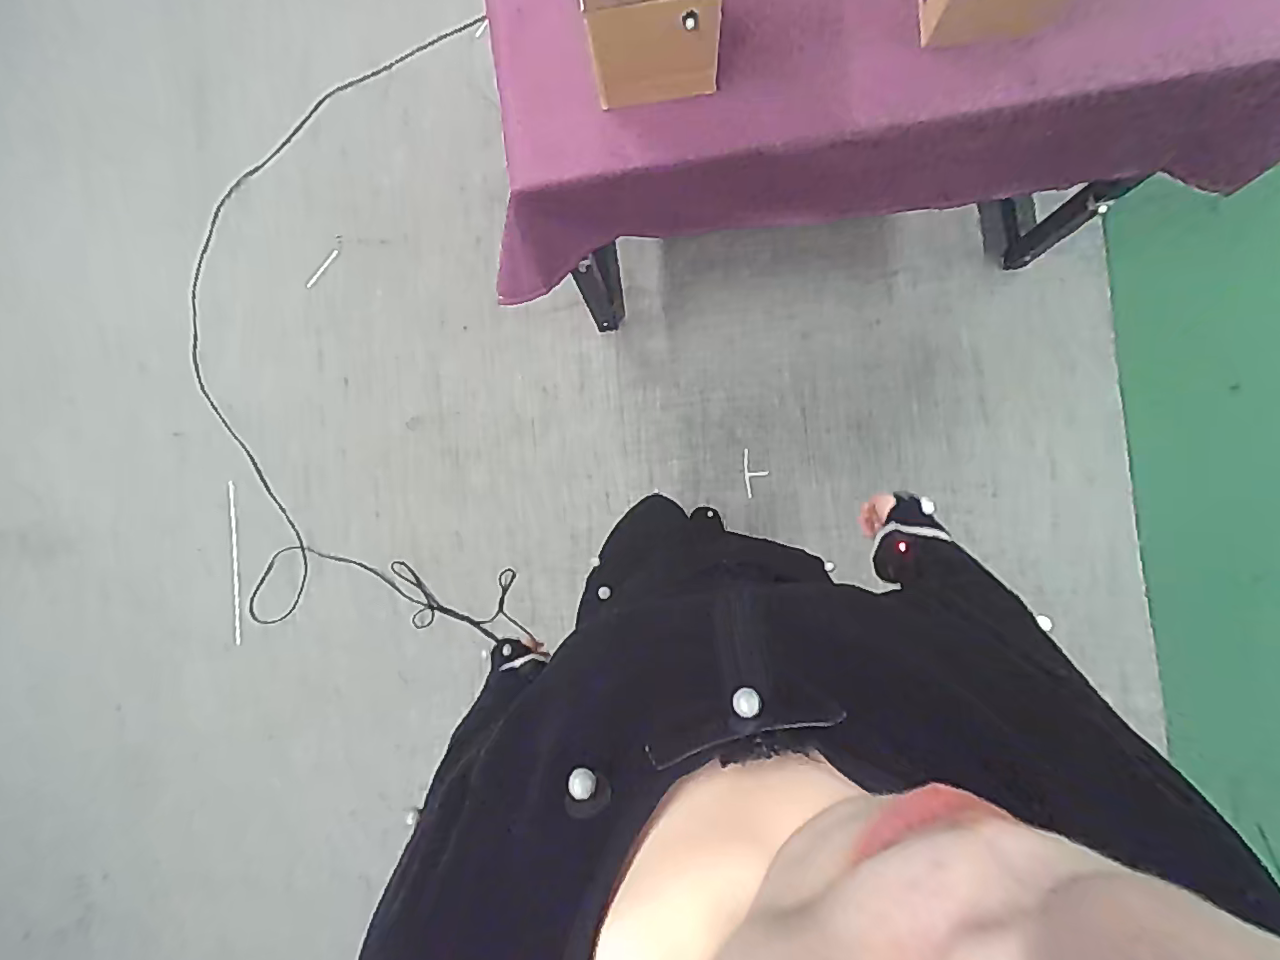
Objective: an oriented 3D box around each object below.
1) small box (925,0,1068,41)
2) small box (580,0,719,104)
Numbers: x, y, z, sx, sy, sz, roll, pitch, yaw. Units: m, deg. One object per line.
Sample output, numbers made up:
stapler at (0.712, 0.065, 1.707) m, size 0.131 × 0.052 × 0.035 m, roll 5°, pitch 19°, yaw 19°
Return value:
small box at (0.487, -0.715, 0.699) m, size 0.179 × 0.176 × 0.168 m, roll -1°, pitch 87°, yaw 5°
small box at (0.015, -0.658, 0.743) m, size 0.179 × 0.176 × 0.168 m, roll -6°, pitch 86°, yaw 4°
